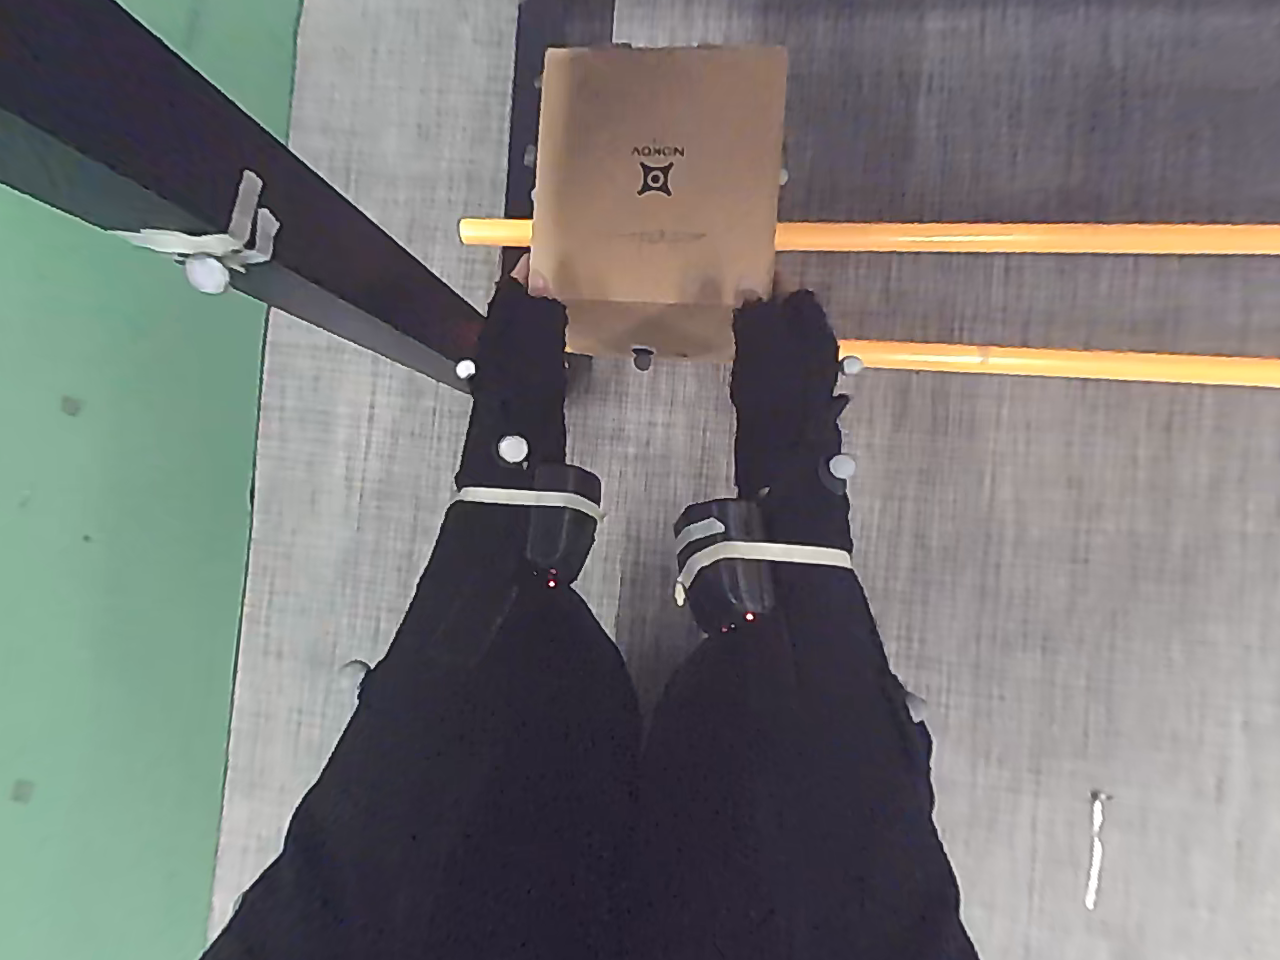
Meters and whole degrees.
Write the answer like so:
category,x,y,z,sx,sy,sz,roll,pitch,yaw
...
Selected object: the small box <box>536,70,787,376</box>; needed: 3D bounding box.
category,x,y,z,sx,sy,sz,roll,pitch,yaw
small box,0.020,-0.194,0.451,0.168,0.176,0.179,3,90,5
